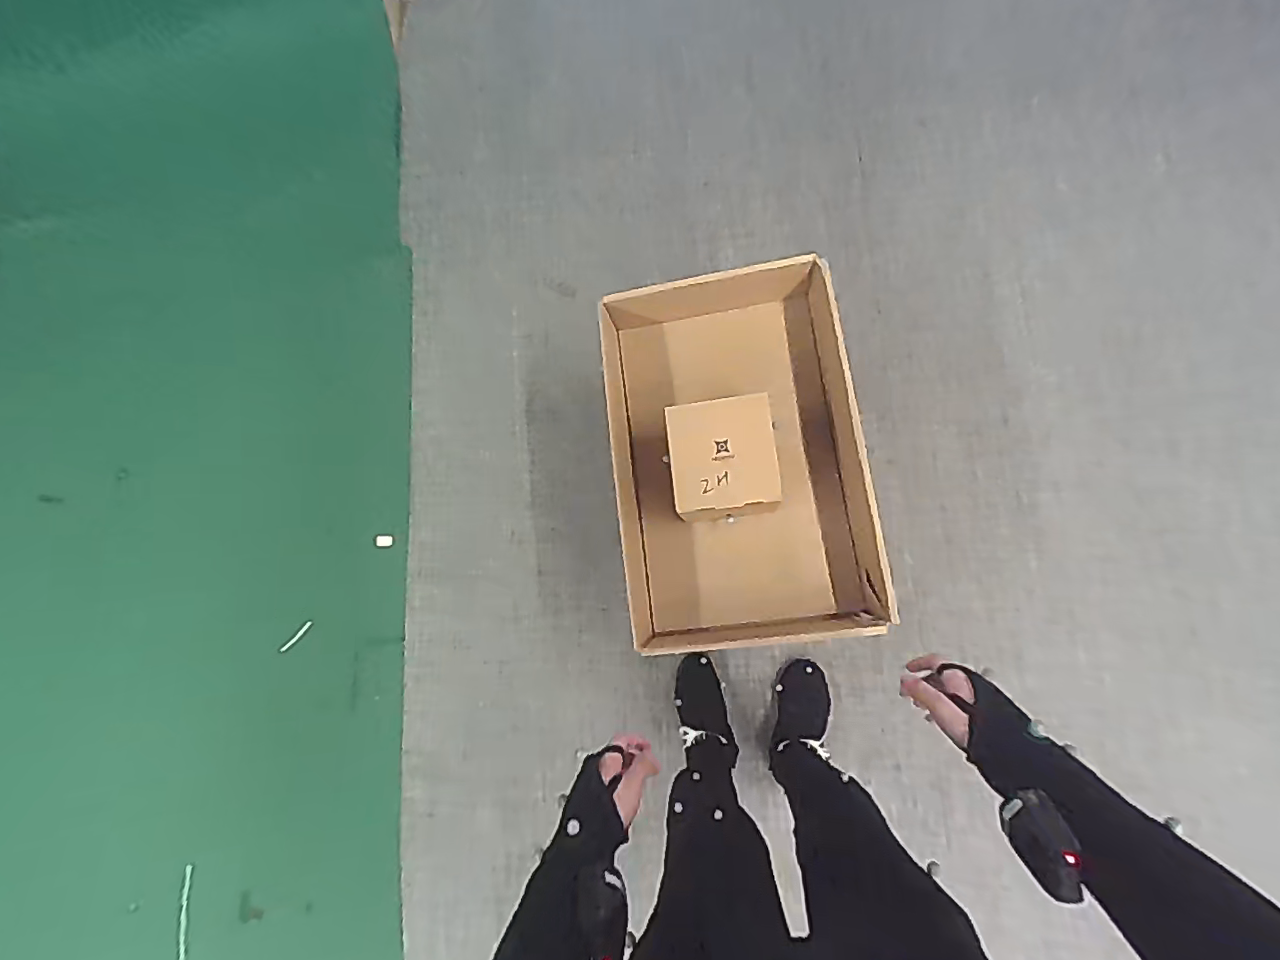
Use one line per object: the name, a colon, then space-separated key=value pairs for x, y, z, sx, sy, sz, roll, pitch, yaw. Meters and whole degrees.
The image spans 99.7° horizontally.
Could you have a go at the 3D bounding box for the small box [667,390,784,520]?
small box: x=0.141 y=-0.033 z=0.914 sx=0.168 sy=0.176 sz=0.179 roll=-7 pitch=80 yaw=9
